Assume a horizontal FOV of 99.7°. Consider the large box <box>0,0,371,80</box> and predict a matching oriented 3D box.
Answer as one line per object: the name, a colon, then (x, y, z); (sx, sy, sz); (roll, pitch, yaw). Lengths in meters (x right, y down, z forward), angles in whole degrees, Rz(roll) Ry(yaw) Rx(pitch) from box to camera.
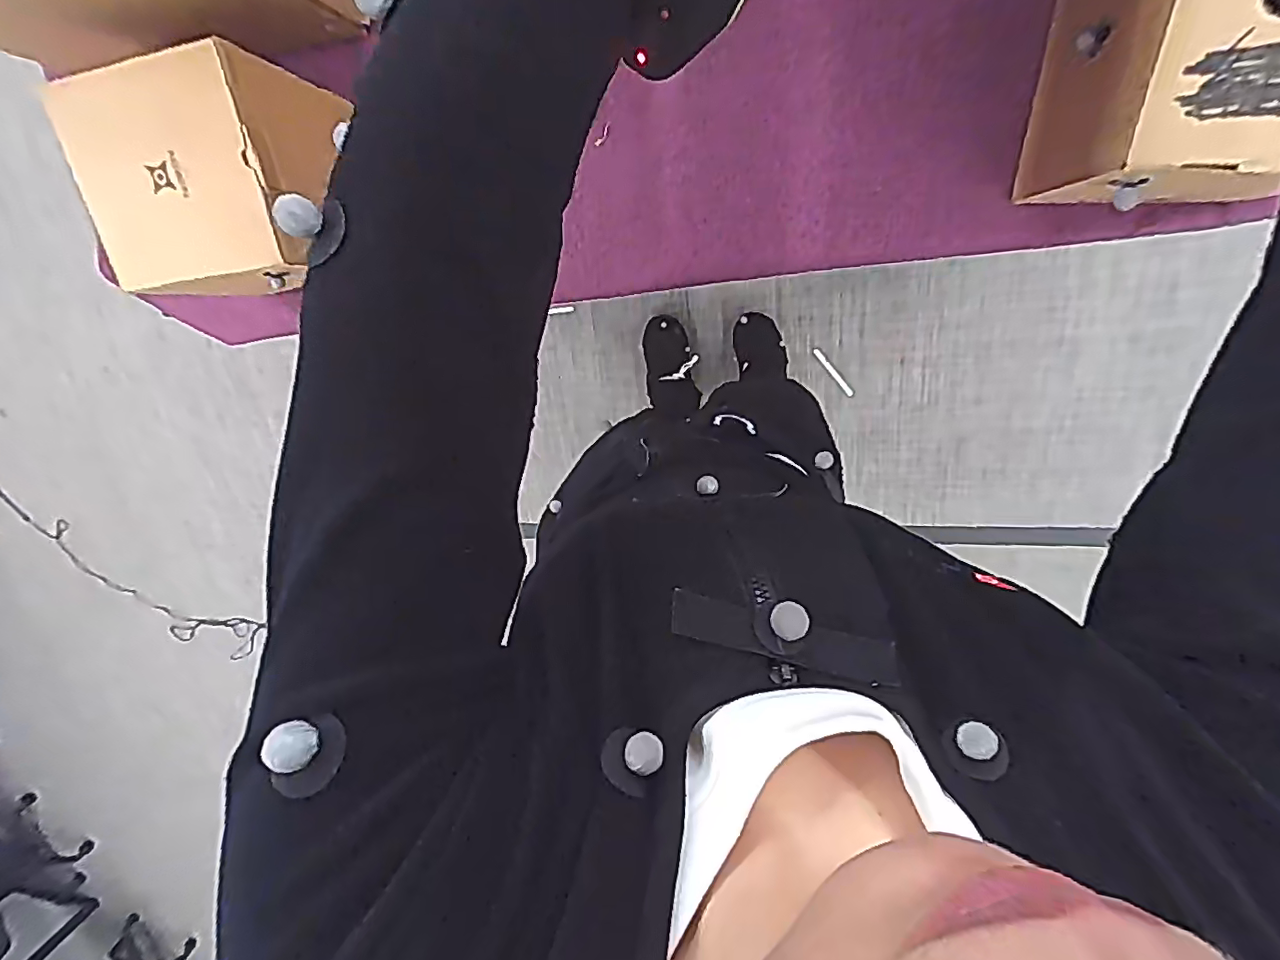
large box: (-0.460, -0.573, 0.363); (0.320, 0.320, 0.408); (-3, 113, 12)
